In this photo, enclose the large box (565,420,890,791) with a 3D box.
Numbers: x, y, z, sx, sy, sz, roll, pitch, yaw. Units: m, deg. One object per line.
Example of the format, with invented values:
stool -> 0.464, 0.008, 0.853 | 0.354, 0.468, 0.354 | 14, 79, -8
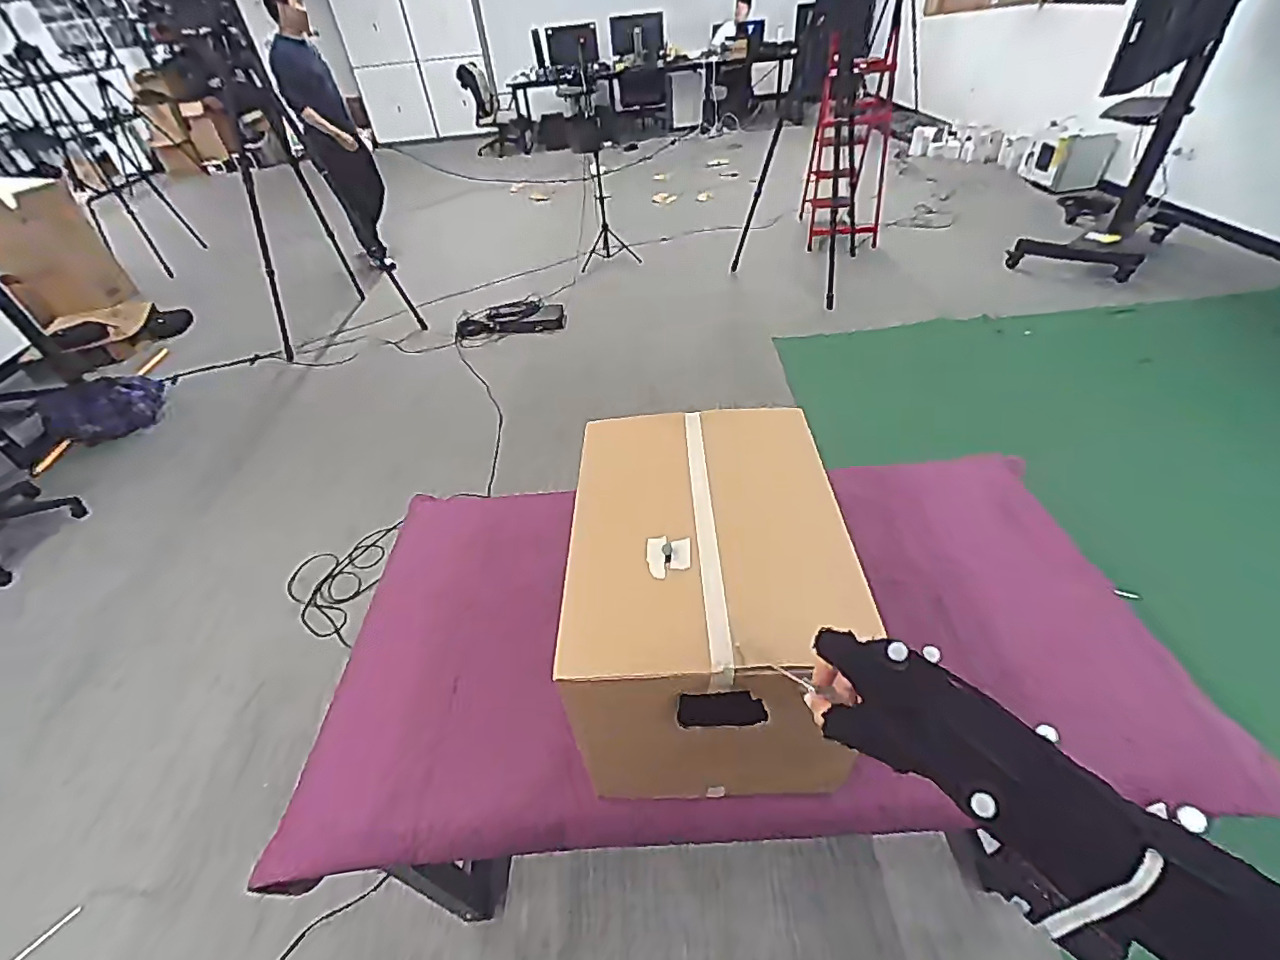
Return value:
large box -> 0.087, 0.161, 0.750 | 0.320, 0.320, 0.408 | -3, 43, 3
